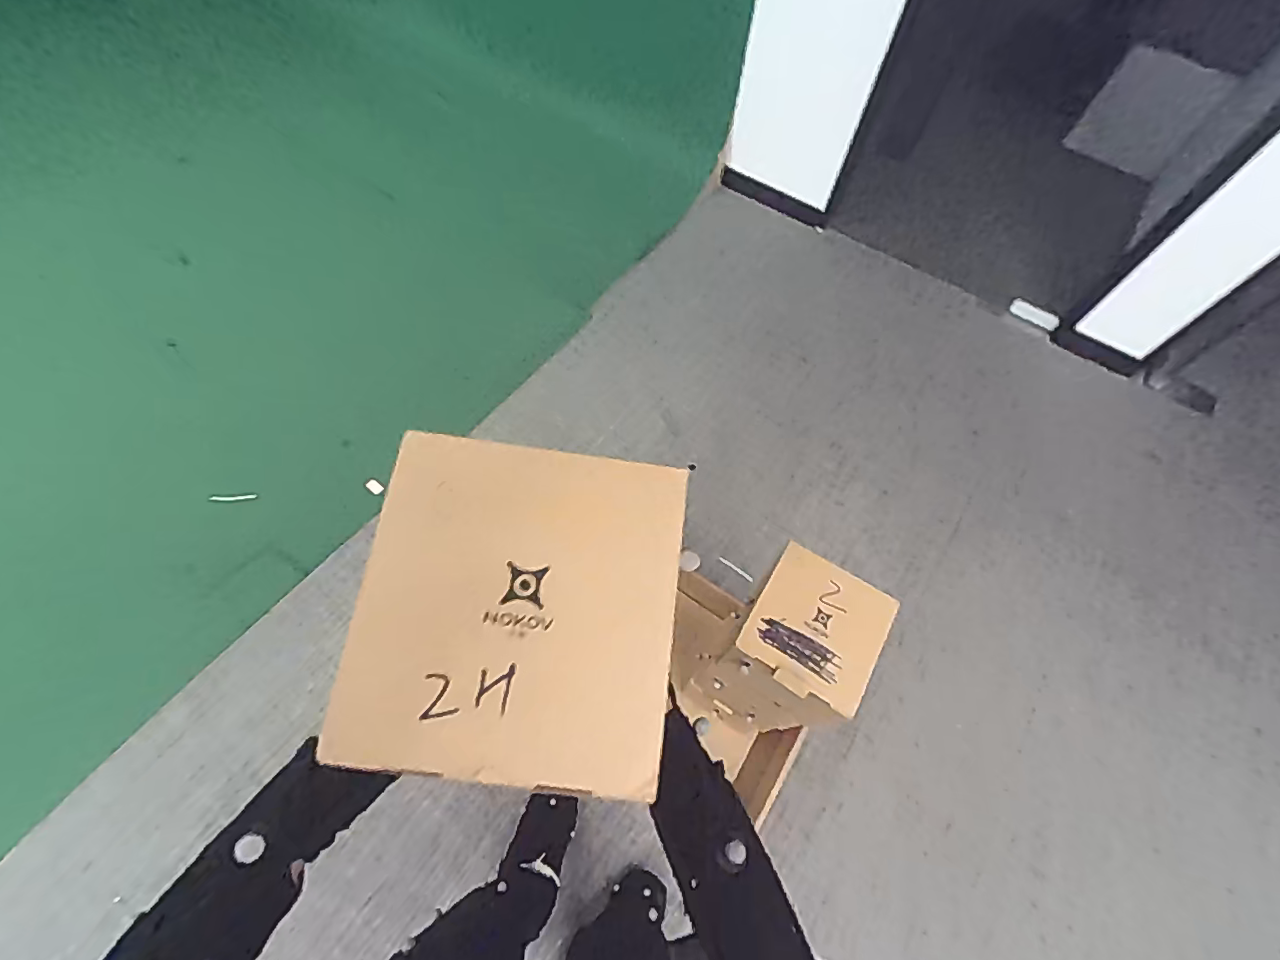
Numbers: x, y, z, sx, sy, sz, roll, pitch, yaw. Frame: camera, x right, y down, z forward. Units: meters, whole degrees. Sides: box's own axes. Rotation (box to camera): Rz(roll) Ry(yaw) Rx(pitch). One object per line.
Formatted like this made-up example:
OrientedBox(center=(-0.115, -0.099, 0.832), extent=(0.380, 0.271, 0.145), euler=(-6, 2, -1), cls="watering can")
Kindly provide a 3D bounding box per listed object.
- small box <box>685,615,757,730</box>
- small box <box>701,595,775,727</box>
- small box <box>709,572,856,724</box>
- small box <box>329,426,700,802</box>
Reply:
OrientedBox(center=(0.212, 0.440, 1.222), extent=(0.168, 0.176, 0.179), euler=(28, 63, 13), cls="small box")
OrientedBox(center=(0.232, 0.360, 1.060), extent=(0.168, 0.176, 0.179), euler=(32, 65, 14), cls="small box")
OrientedBox(center=(0.233, 0.294, 0.928), extent=(0.168, 0.176, 0.179), euler=(33, 65, 14), cls="small box")
OrientedBox(center=(-0.064, 0.086, 0.358), extent=(0.168, 0.176, 0.179), euler=(8, 73, -3), cls="small box")
